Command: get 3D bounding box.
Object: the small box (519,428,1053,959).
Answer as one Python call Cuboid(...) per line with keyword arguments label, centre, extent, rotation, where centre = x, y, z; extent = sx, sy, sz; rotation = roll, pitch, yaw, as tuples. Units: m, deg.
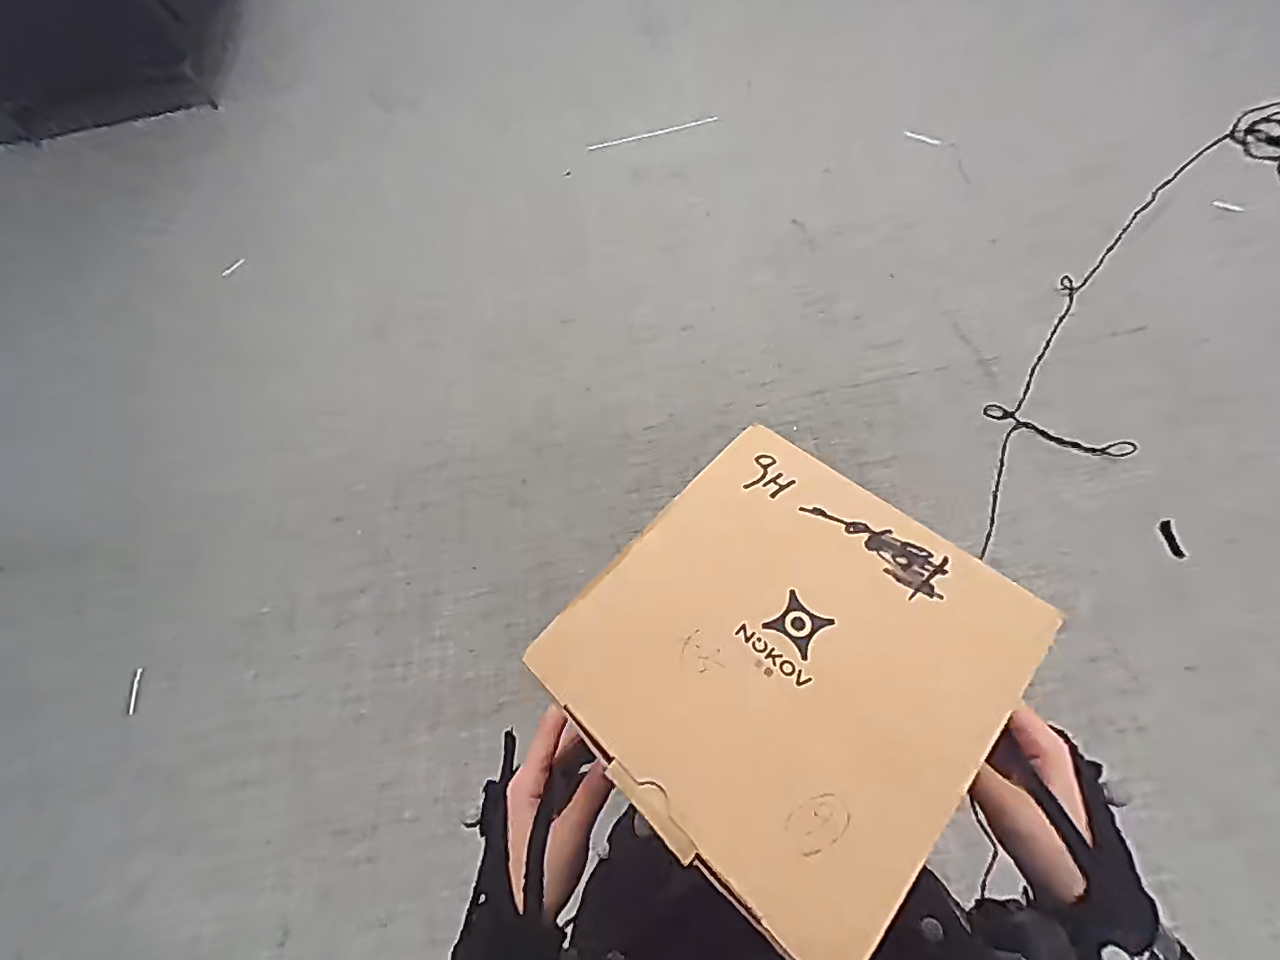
Cuboid(label="small box", centre=(0.069, 0.113, 0.304), extent=(0.168, 0.176, 0.179), rotation=(38, 70, 26))
